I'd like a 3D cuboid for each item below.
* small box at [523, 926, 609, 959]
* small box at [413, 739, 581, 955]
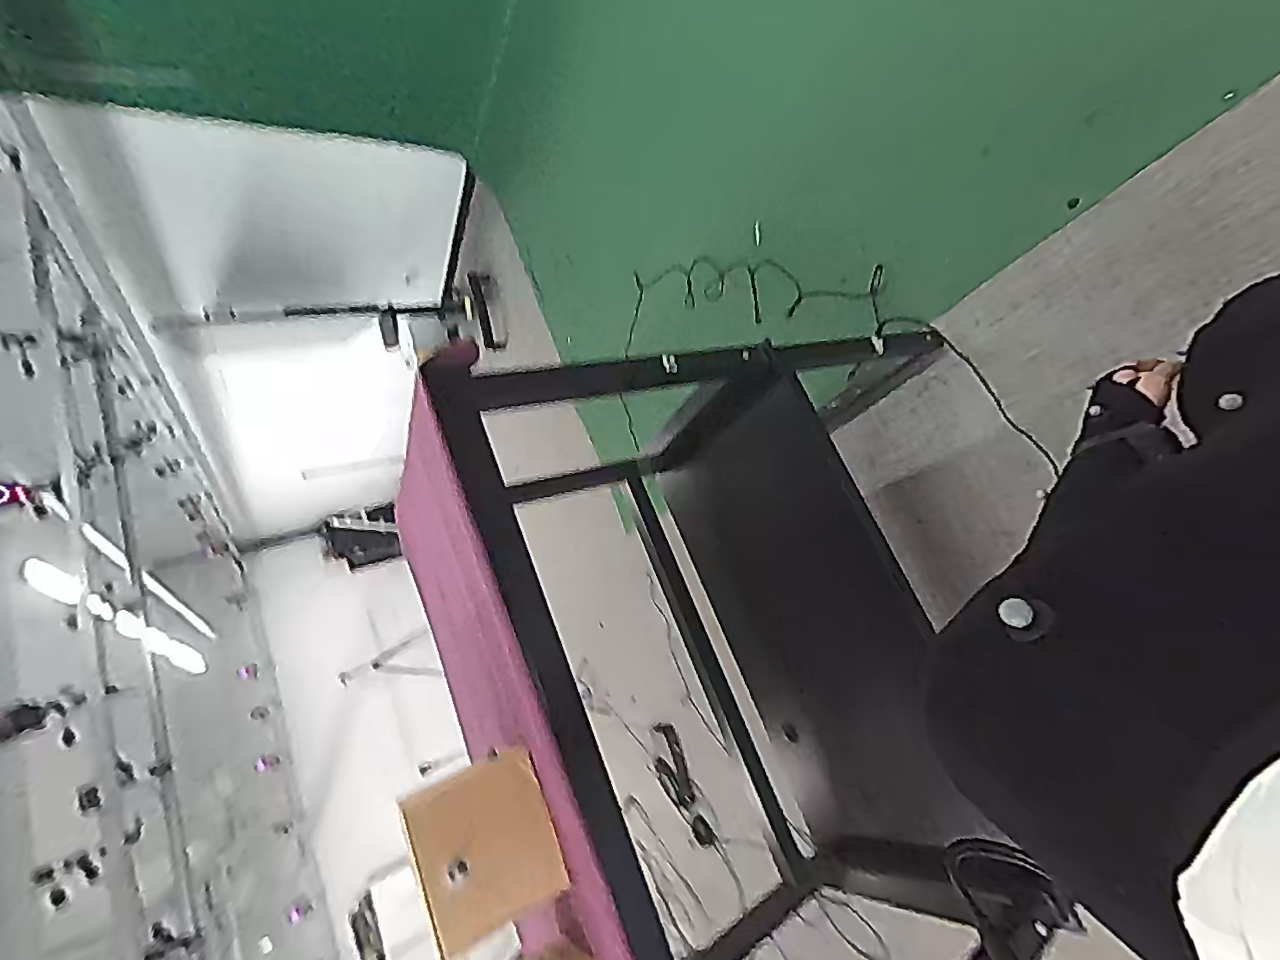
[{"bbox_3d":[-0.103,0.727,0.685,0.168,0.176,0.179,-47,62,53],"label":"small box"},{"bbox_3d":[-0.200,0.485,0.747,0.168,0.176,0.179,-45,64,55],"label":"small box"}]
